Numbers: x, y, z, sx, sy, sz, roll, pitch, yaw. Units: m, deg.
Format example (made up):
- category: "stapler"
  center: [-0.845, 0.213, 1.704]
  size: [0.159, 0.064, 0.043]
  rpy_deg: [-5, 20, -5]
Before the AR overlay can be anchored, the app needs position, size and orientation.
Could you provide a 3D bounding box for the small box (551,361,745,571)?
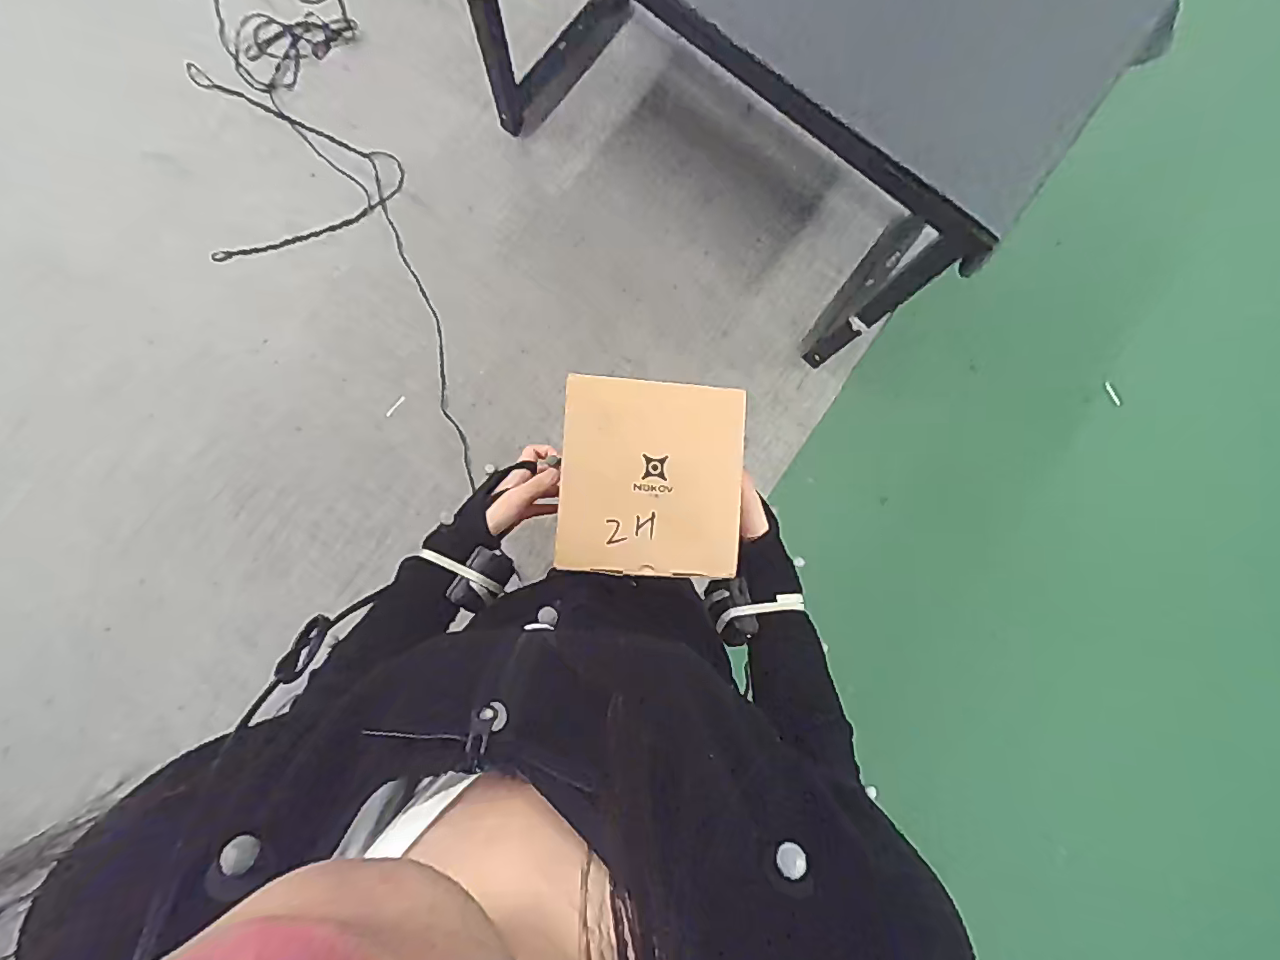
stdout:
- category: "small box"
  center: [-0.001, -0.007, 0.554]
  size: [0.168, 0.176, 0.179]
  rpy_deg: [4, 87, -7]
